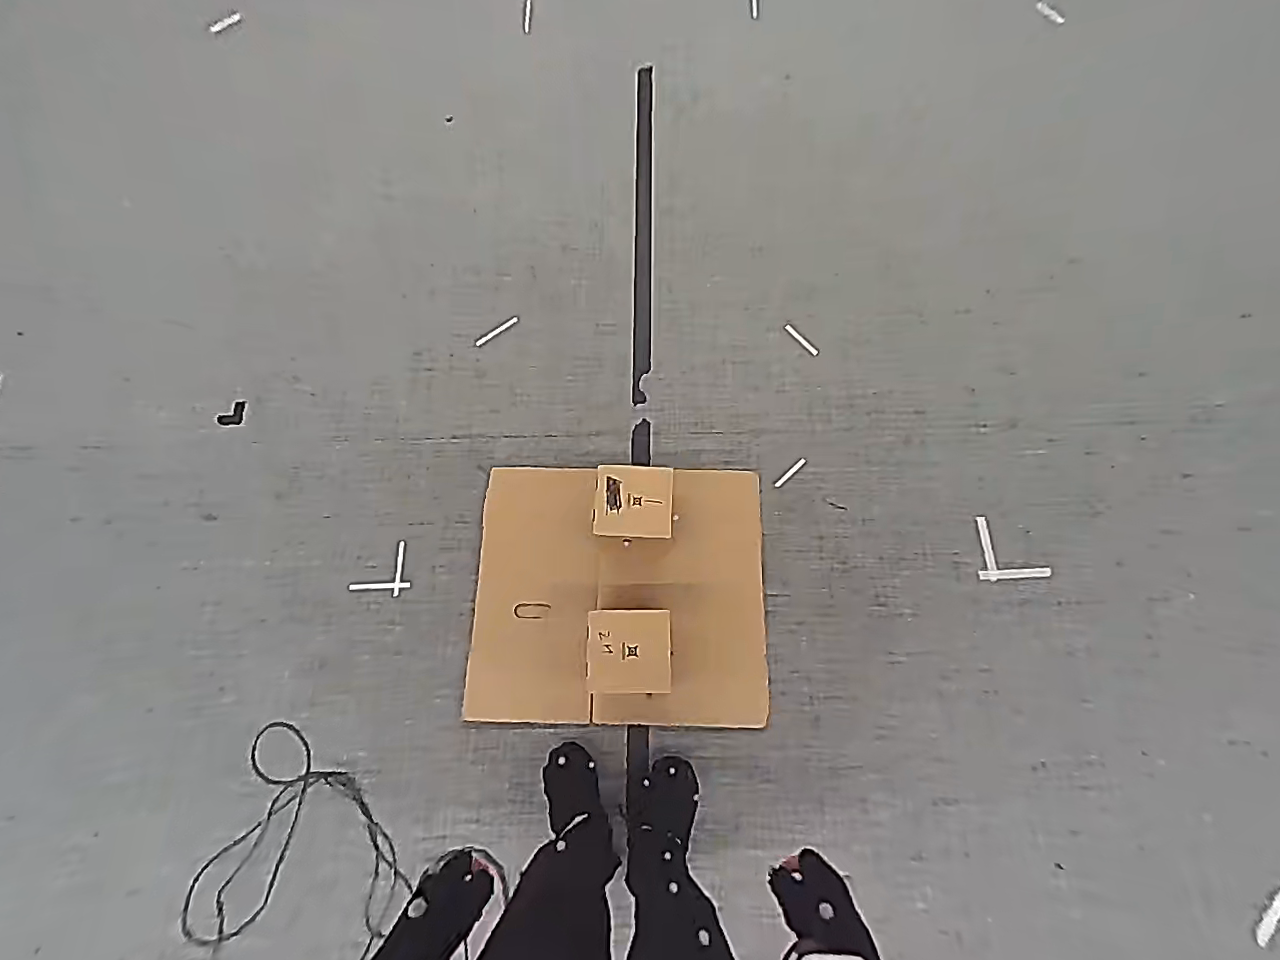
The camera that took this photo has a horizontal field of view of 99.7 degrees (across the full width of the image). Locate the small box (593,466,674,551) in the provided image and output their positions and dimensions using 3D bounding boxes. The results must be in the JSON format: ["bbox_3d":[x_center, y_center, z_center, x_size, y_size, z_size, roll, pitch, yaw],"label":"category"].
[{"bbox_3d":[-0.011,0.073,1.294,0.179,0.176,0.168,3,73,3],"label":"small box"}]

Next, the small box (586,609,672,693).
[{"bbox_3d":[-0.020,0.376,1.199,0.179,0.176,0.168,0,72,3],"label":"small box"}]
